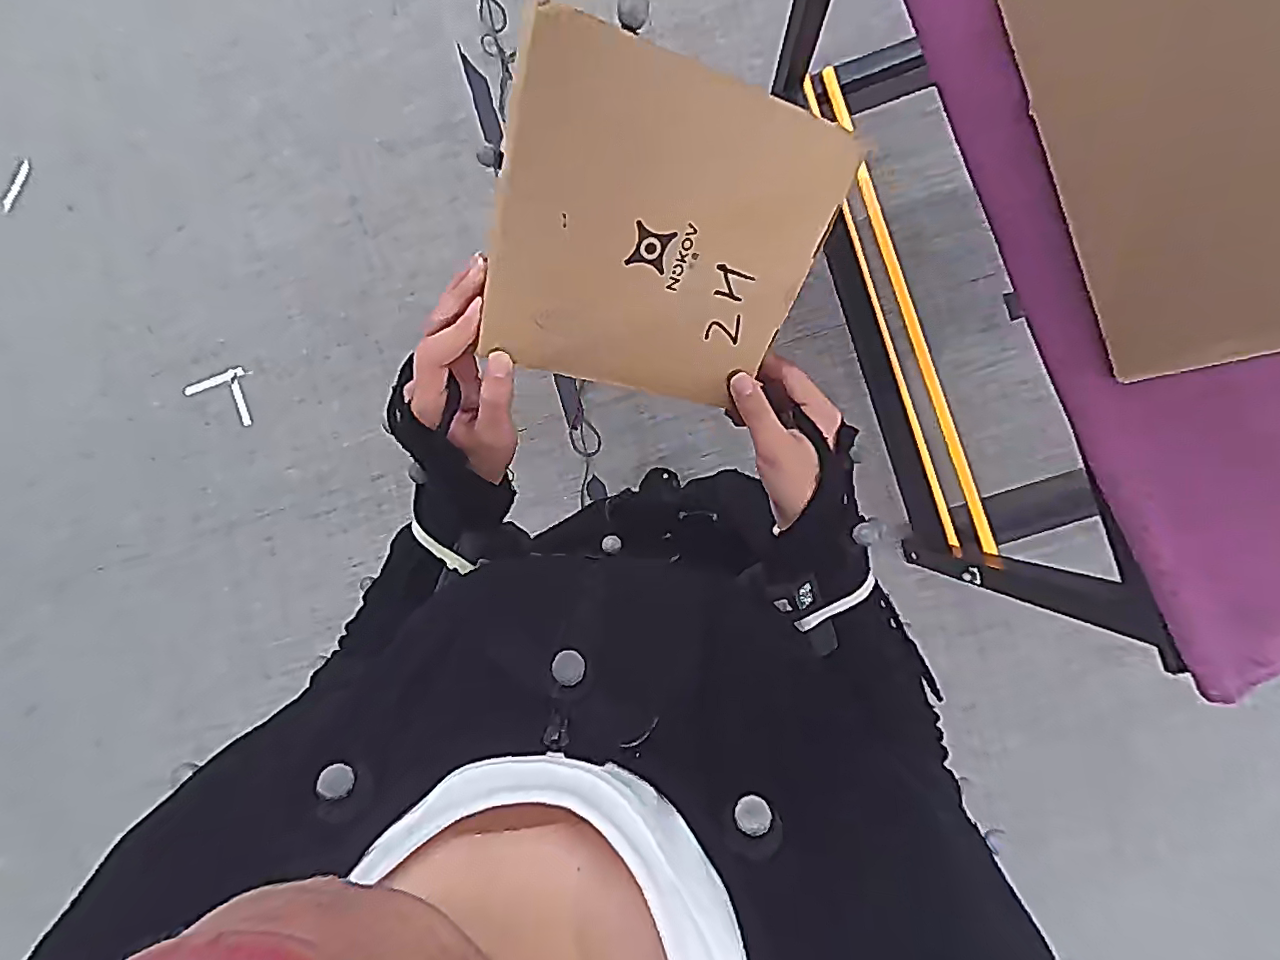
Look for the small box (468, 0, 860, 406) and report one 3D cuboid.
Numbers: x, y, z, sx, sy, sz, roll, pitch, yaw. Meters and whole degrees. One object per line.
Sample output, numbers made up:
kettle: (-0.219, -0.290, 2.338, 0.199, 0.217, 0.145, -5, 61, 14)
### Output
small box: (-0.006, -0.175, 0.353, 0.179, 0.176, 0.168, 8, 127, -21)
